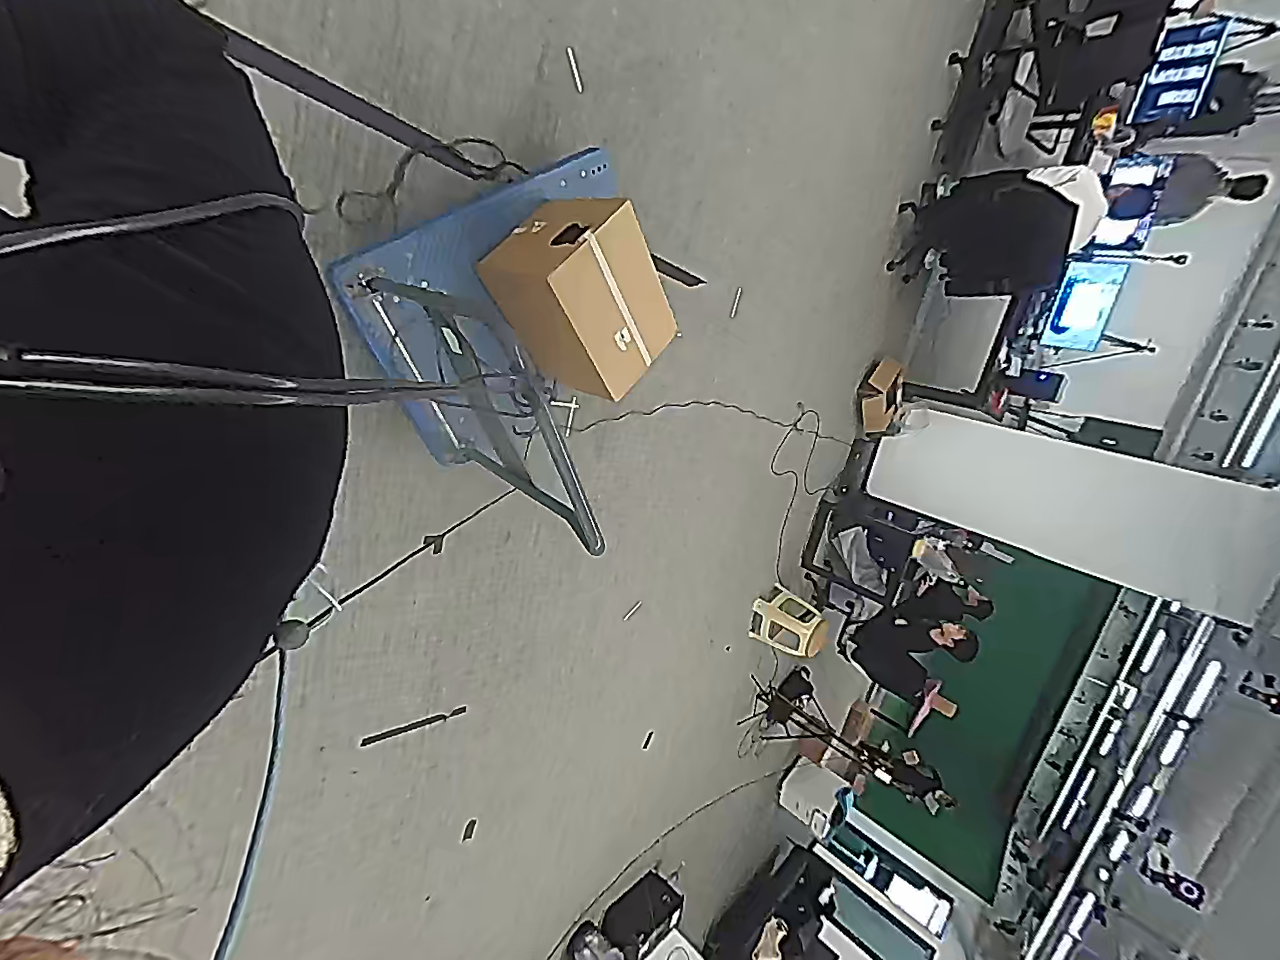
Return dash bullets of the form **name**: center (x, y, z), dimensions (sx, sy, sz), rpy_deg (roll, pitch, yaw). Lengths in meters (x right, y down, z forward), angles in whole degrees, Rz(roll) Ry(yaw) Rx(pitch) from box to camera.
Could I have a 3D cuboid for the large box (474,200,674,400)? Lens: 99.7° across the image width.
- **large box**: center (-0.166, -0.490, 1.478), dimensions (0.320, 0.320, 0.408), rpy_deg (-51, 140, -19)
